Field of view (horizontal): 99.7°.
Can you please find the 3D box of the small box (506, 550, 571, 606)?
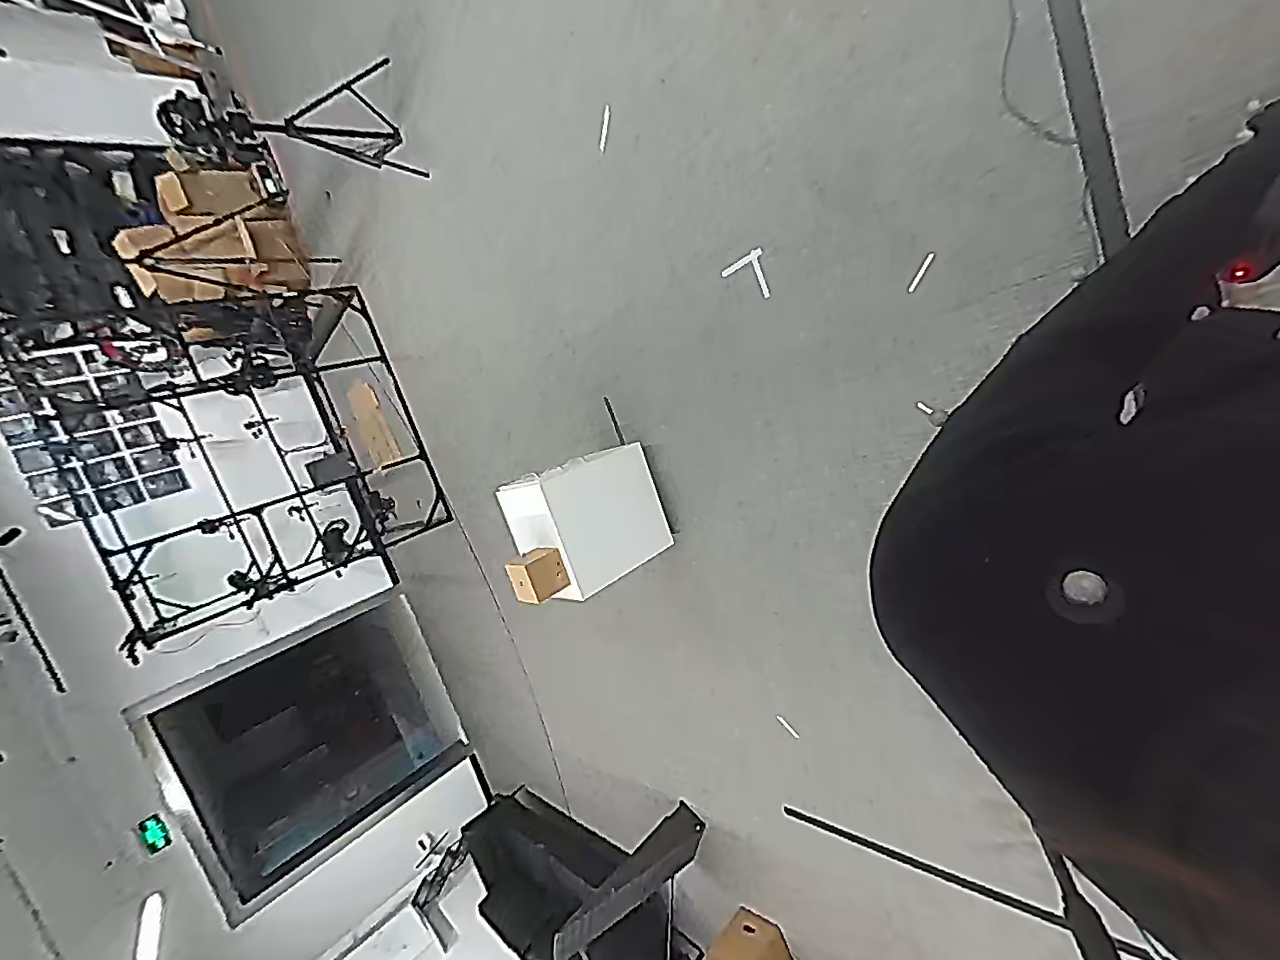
[{"bbox_3d":[-0.407,0.390,2.181,0.179,0.176,0.168,-8,104,50],"label":"small box"}]
